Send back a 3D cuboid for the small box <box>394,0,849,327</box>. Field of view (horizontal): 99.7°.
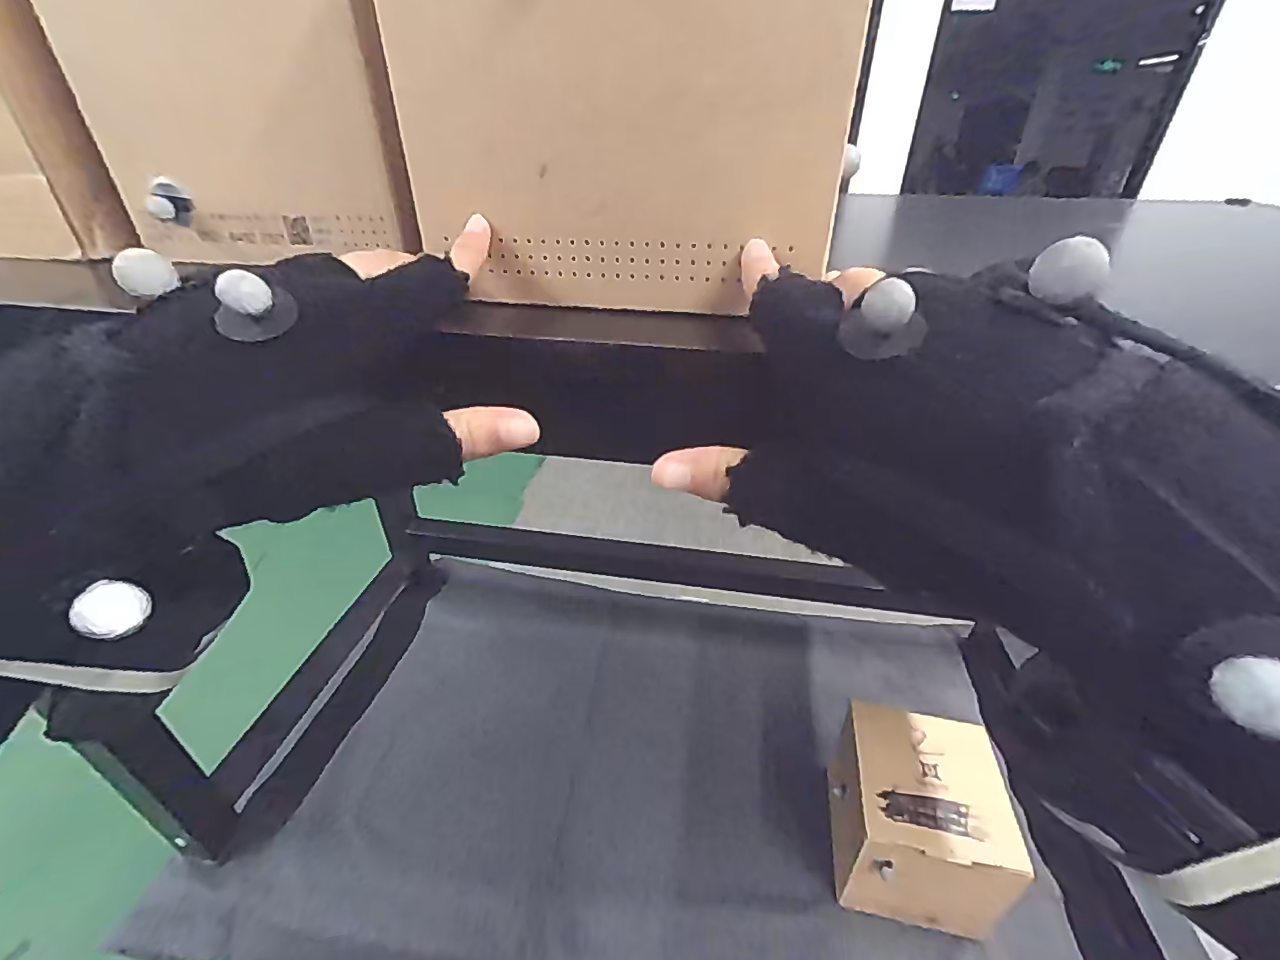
[{"bbox_3d":[0.000,-0.181,0.267,0.179,0.176,0.168,6,34,9],"label":"small box"}]
